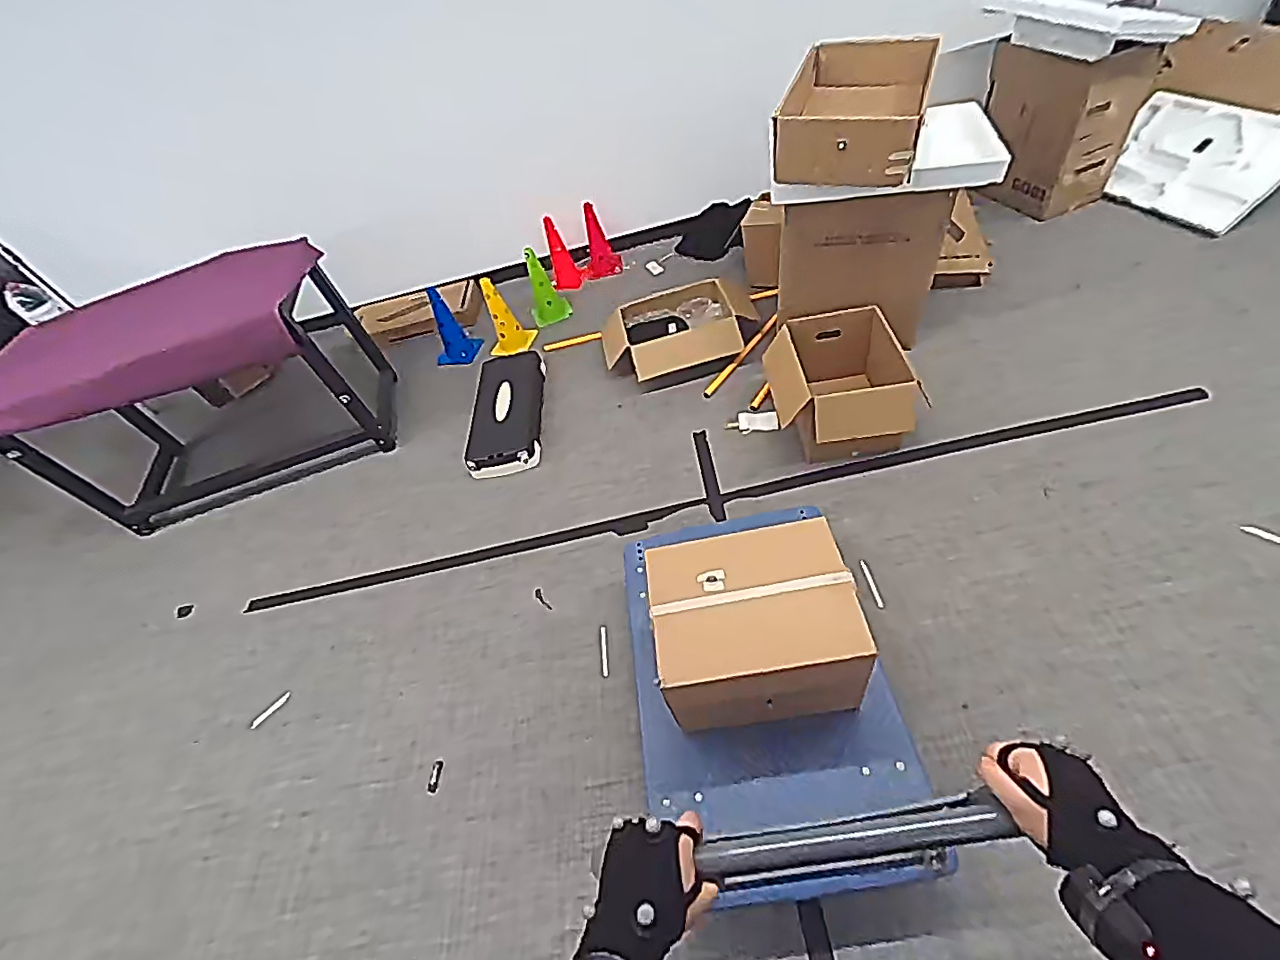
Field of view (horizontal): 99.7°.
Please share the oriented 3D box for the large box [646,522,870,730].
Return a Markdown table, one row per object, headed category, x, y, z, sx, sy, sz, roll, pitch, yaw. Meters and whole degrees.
| category | x | y | z | sx | sy | sz | roll | pitch | yaw |
| --- | --- | --- | --- | --- | --- | --- | --- | --- | --- |
| large box | 0.254 | 0.340 | 1.227 | 0.408 | 0.320 | 0.320 | -12 | 48 | 6 |
